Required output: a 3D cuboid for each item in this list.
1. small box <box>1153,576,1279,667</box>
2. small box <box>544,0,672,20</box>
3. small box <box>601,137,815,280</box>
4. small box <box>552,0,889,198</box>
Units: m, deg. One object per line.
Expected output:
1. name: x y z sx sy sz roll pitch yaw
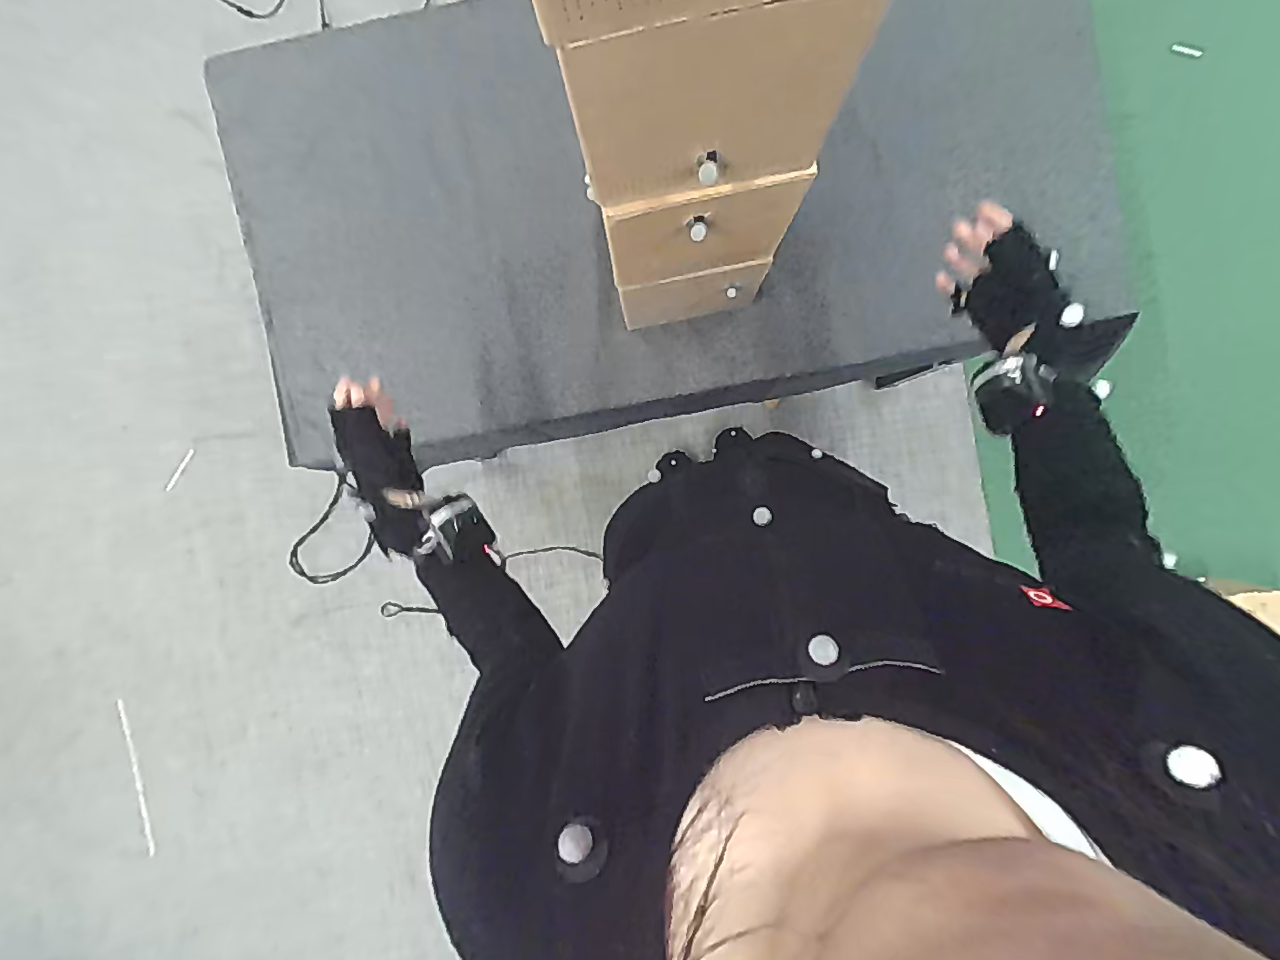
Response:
1. small box: 1.443 0.348 1.350 0.168 0.176 0.179 -6 90 2
2. small box: 0.020 -0.314 0.187 0.179 0.176 0.168 -11 91 2
3. small box: 0.045 -0.311 0.514 0.179 0.176 0.168 -11 90 3
4. small box: 0.034 -0.314 0.351 0.179 0.176 0.168 -9 90 2
